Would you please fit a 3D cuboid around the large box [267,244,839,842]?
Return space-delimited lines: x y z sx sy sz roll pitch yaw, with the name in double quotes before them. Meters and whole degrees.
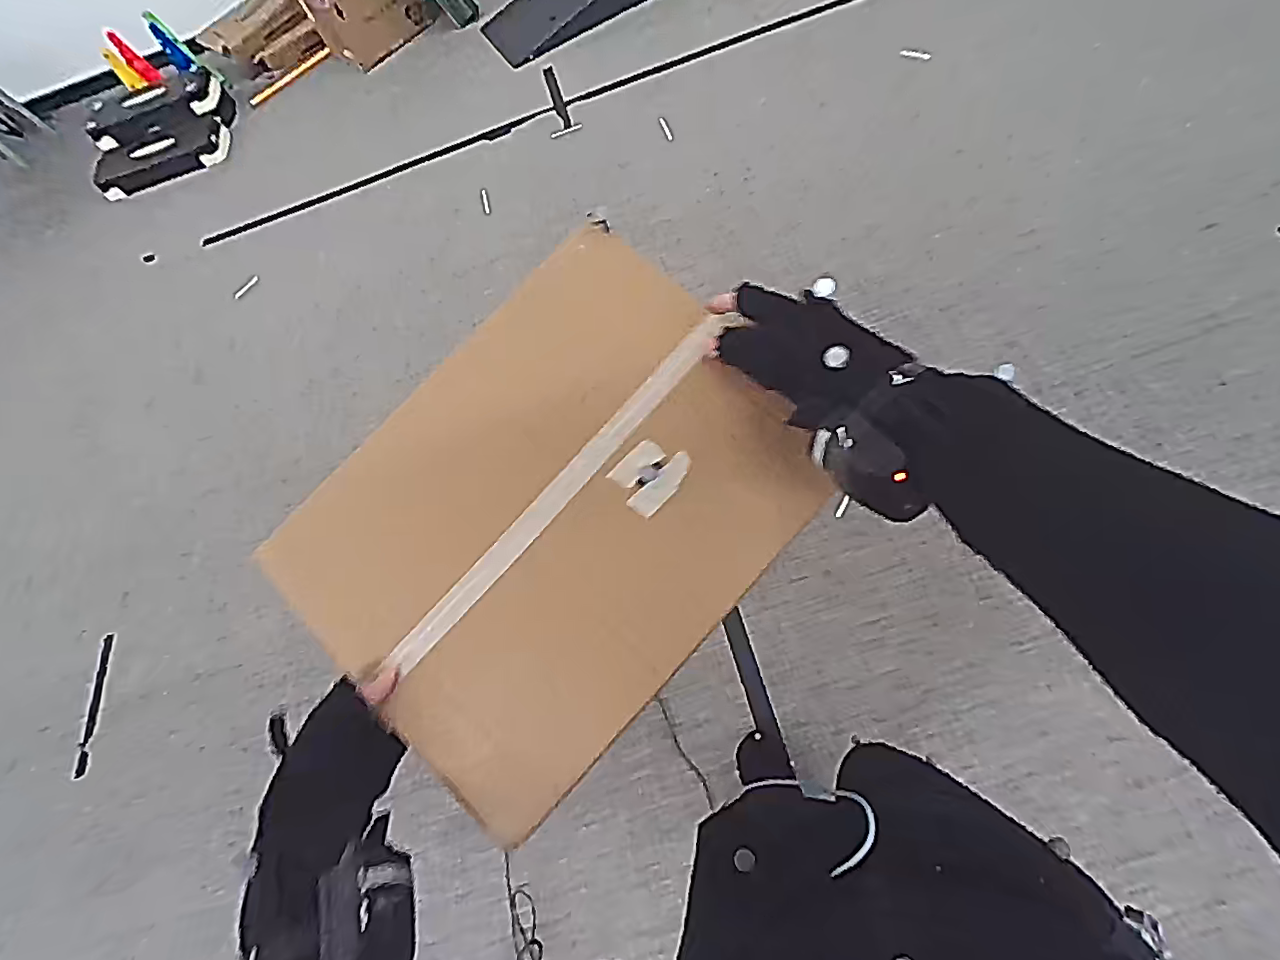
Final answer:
"large box" -0.065 0.057 0.589 0.320 0.320 0.408 40 84 11
